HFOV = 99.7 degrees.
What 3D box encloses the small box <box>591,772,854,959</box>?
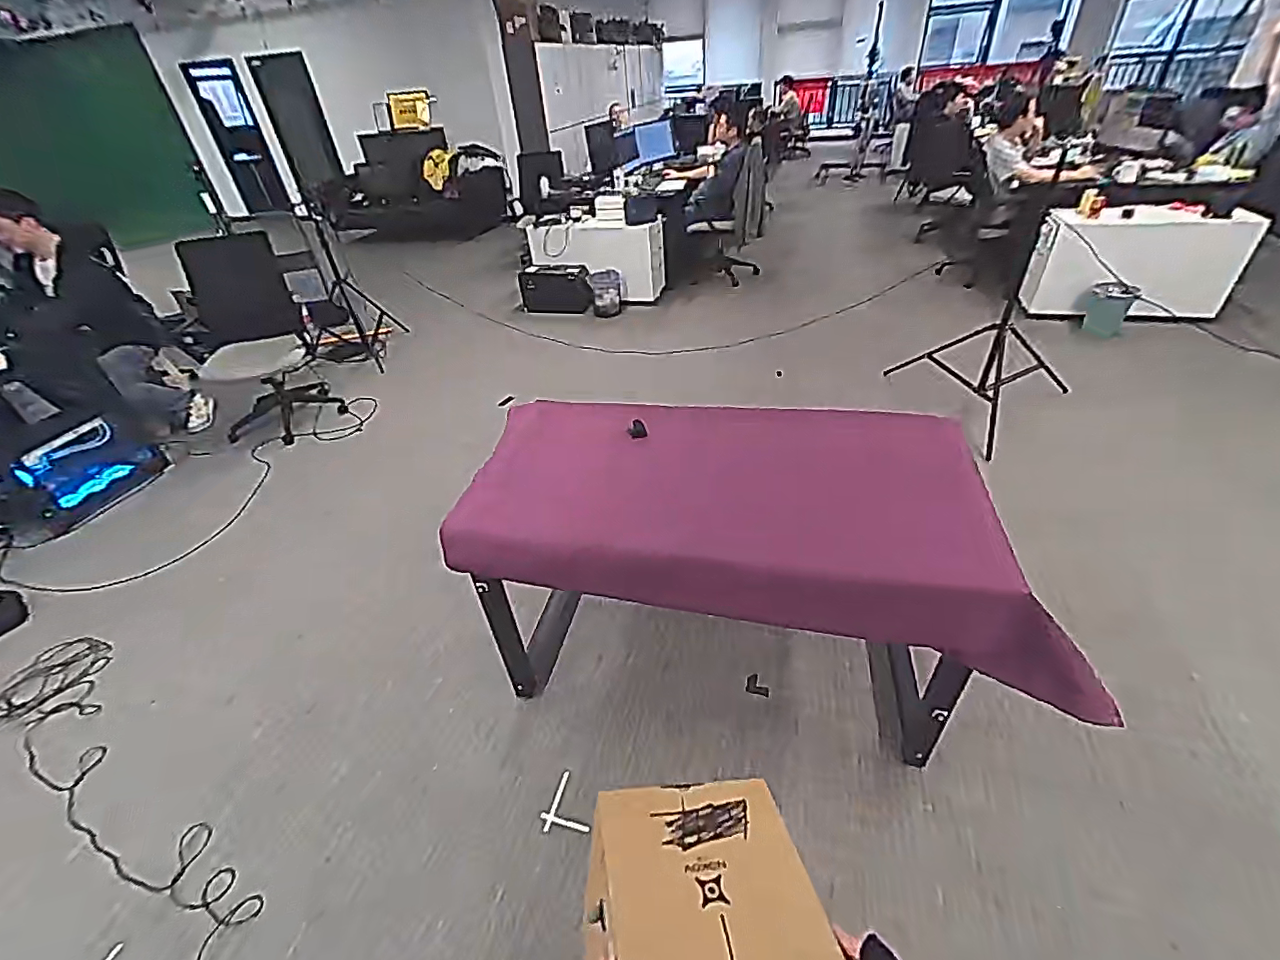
[{"bbox_3d":[0.050,0.387,0.459,0.168,0.176,0.179,2,19,-11],"label":"small box"}]
